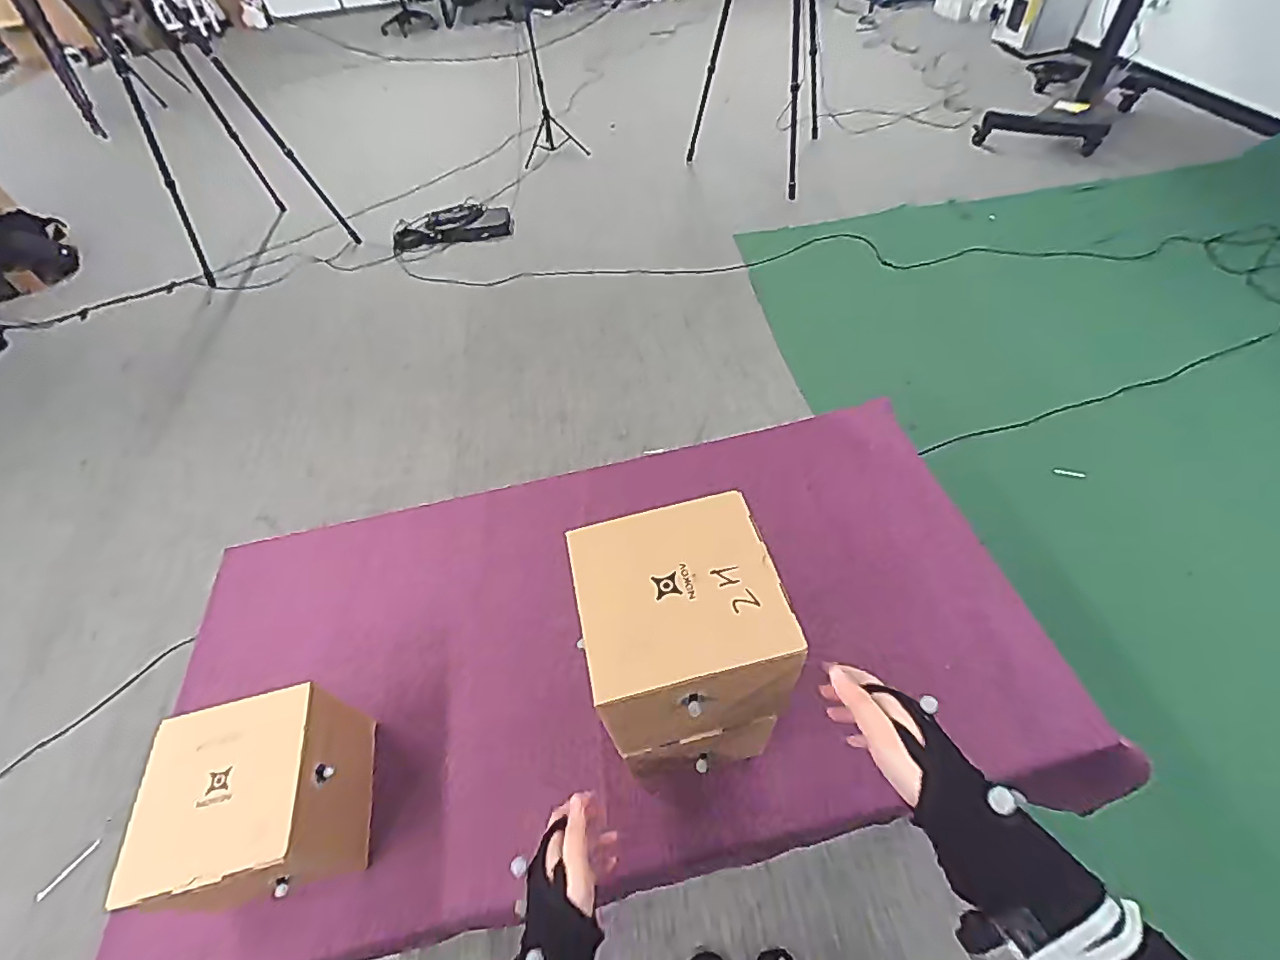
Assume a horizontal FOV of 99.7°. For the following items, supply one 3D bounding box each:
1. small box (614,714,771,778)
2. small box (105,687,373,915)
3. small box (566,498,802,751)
[{"bbox_3d":[0.048,0.249,0.661,0.168,0.176,0.179,-12,52,-4],"label":"small box"},{"bbox_3d":[-0.426,0.366,0.617,0.168,0.176,0.179,-13,51,-5],"label":"small box"},{"bbox_3d":[0.037,0.147,0.530,0.179,0.176,0.168,-13,52,-4],"label":"small box"}]
